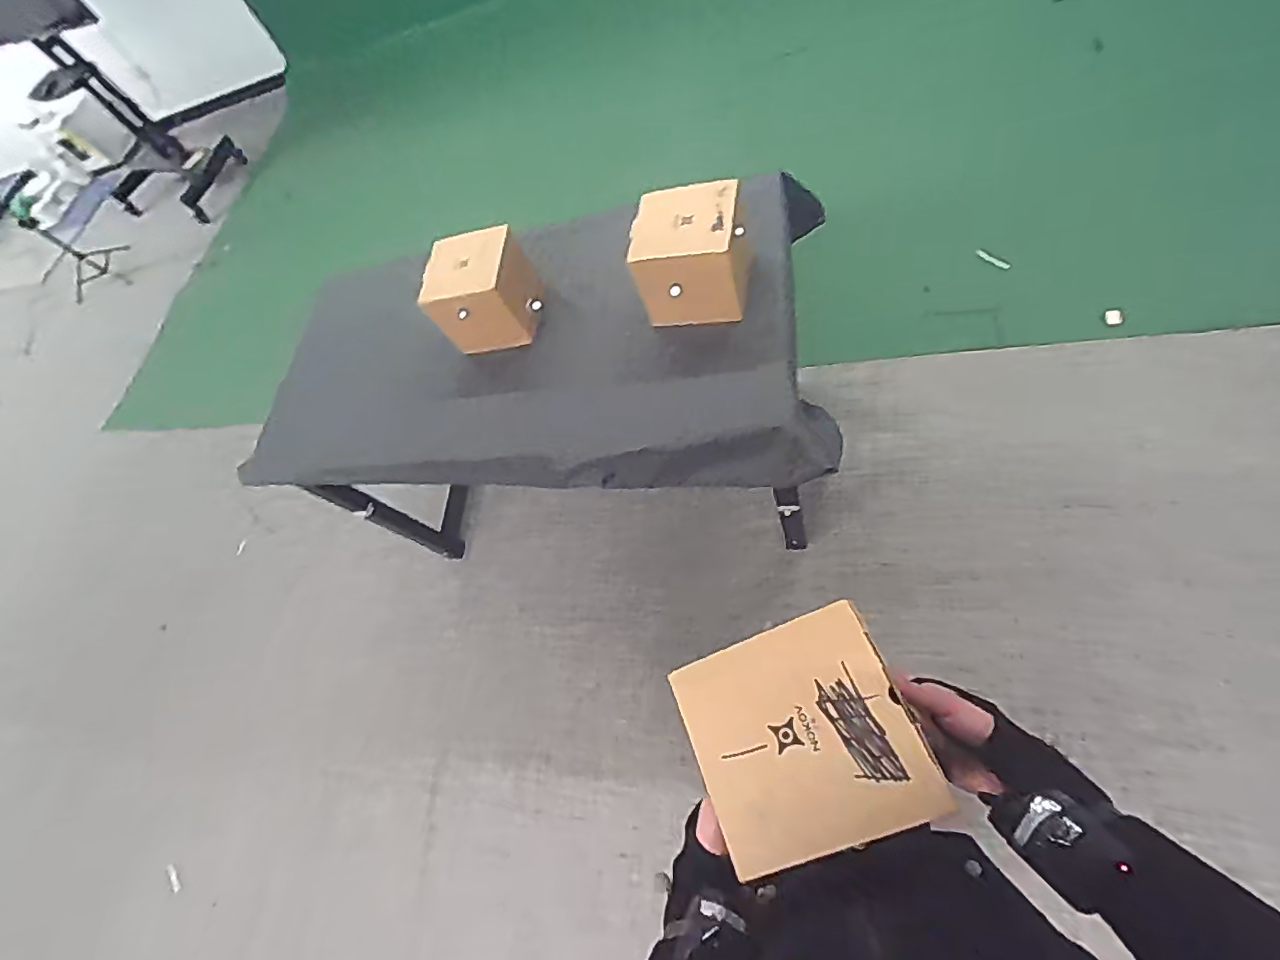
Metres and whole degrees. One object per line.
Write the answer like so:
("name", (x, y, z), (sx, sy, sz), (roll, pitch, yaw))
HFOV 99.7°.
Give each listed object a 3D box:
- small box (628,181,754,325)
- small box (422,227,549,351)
("small box", (0.100, -0.399, 0.978), (0.179, 0.176, 0.168), (2, 67, 21))
("small box", (-0.312, -0.385, 1.121), (0.179, 0.176, 0.168), (-3, 66, 17))
